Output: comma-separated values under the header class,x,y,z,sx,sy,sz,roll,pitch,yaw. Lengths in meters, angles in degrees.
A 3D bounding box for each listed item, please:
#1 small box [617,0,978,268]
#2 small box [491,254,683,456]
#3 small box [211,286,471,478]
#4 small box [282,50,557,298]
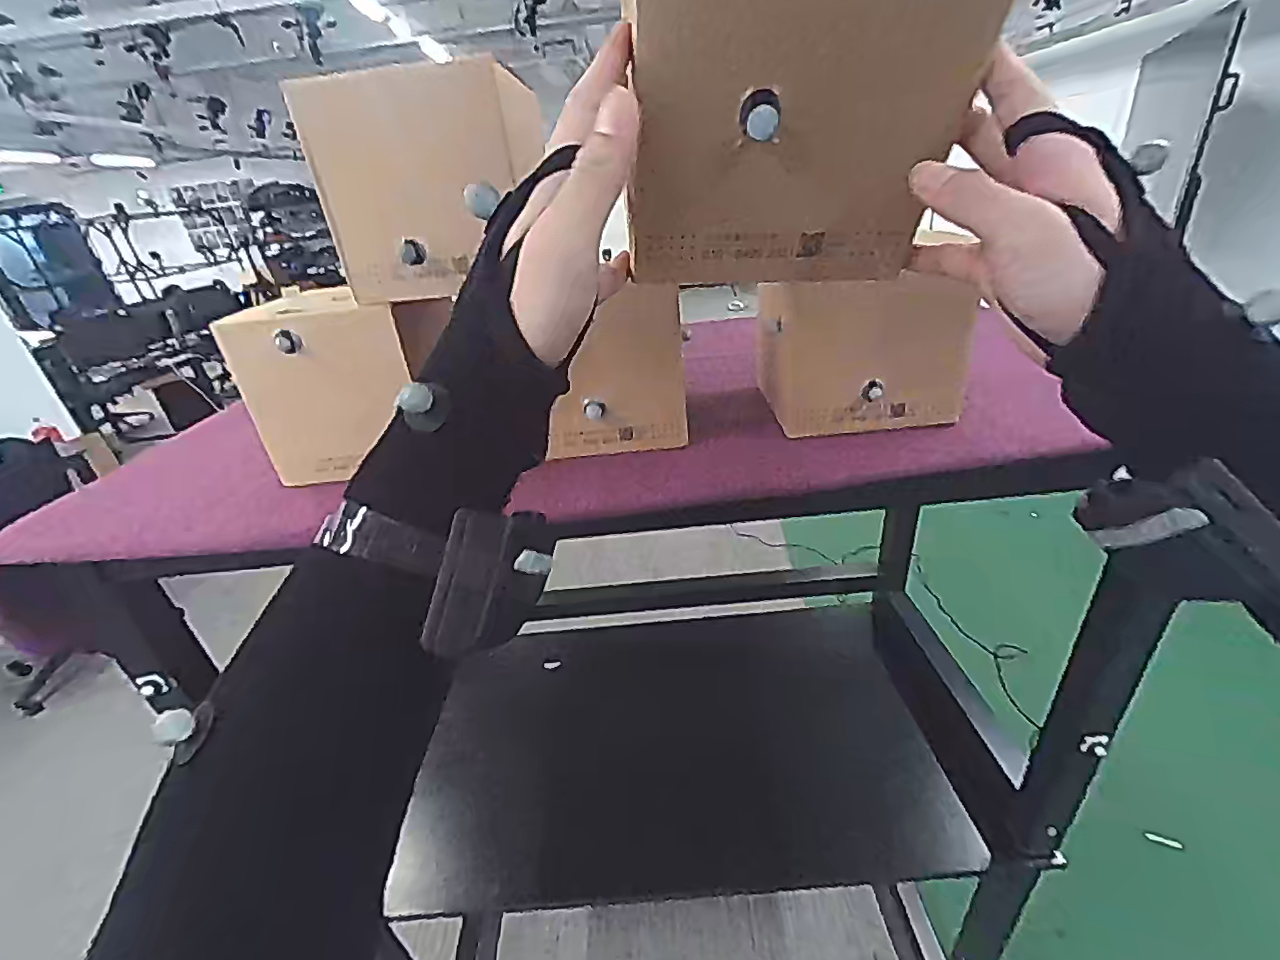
class,x,y,z,sx,sy,sz,roll,pitch,yaw
small box,0.071,-0.243,0.322,0.168,0.176,0.179,-2,51,-2
small box,-0.044,-0.138,0.580,0.168,0.176,0.179,-5,28,3
small box,-0.296,-0.115,0.586,0.168,0.176,0.179,-6,27,1
small box,-0.181,-0.274,0.512,0.168,0.176,0.179,-5,28,4
